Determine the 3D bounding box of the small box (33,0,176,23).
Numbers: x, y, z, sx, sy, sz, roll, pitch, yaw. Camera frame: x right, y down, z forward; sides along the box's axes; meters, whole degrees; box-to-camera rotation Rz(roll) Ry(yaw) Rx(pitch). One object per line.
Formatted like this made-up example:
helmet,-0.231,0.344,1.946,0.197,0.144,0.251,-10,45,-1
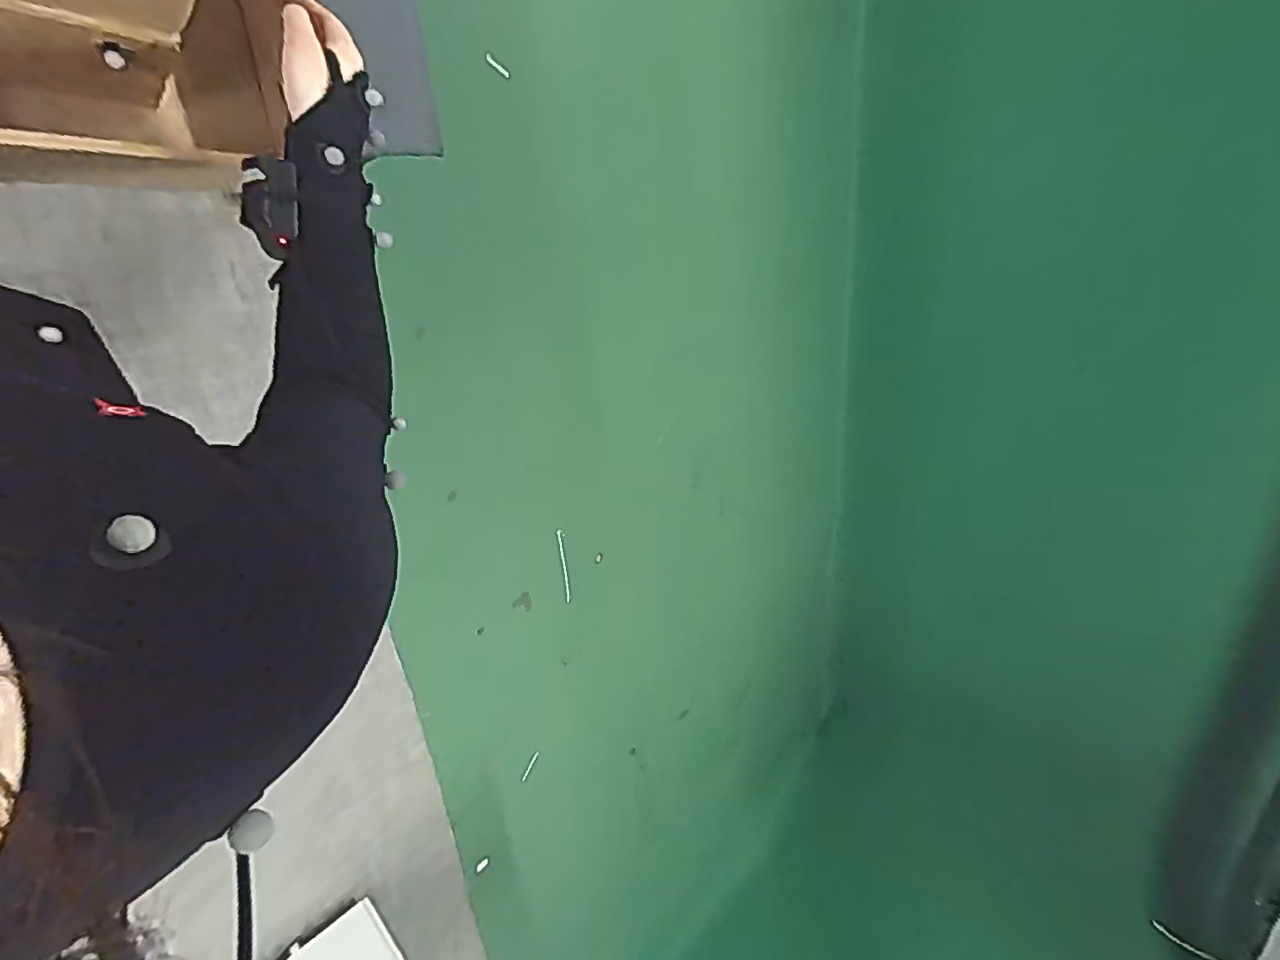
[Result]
small box,-0.354,-0.374,0.272,0.179,0.176,0.168,-25,118,-43
